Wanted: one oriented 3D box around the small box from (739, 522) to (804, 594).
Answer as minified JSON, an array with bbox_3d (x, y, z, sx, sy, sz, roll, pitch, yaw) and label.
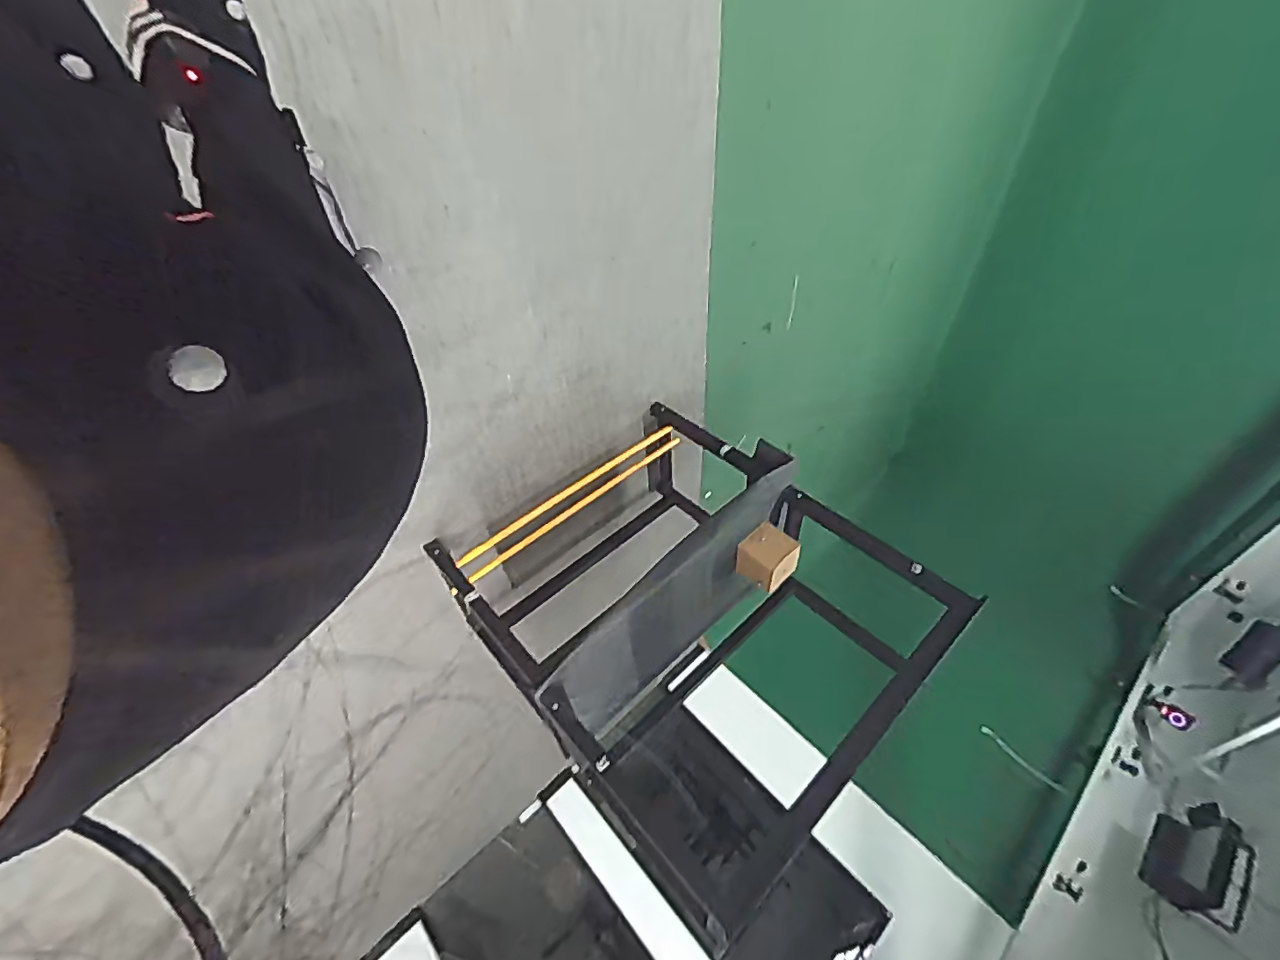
[{"bbox_3d":[0.496,0.294,2.066,0.168,0.176,0.179,-36,144,-24],"label":"small box"}]
